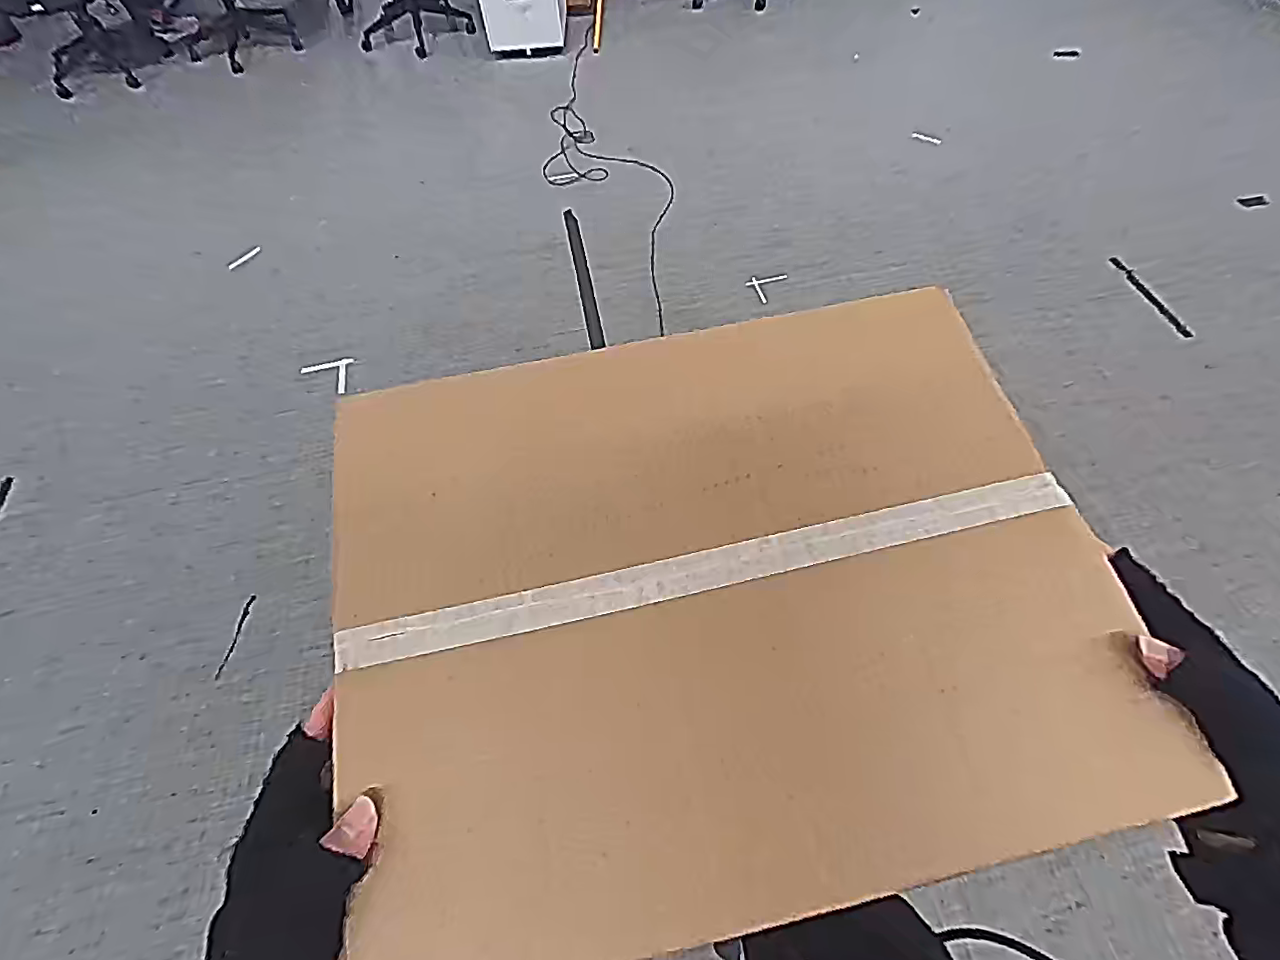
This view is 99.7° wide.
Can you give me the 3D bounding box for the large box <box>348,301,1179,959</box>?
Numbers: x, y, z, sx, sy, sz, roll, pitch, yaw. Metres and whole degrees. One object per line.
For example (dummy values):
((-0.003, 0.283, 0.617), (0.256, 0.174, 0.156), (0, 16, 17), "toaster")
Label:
((0.044, 0.111, 0.441), (0.408, 0.320, 0.320), (-12, 66, -4), "large box")
